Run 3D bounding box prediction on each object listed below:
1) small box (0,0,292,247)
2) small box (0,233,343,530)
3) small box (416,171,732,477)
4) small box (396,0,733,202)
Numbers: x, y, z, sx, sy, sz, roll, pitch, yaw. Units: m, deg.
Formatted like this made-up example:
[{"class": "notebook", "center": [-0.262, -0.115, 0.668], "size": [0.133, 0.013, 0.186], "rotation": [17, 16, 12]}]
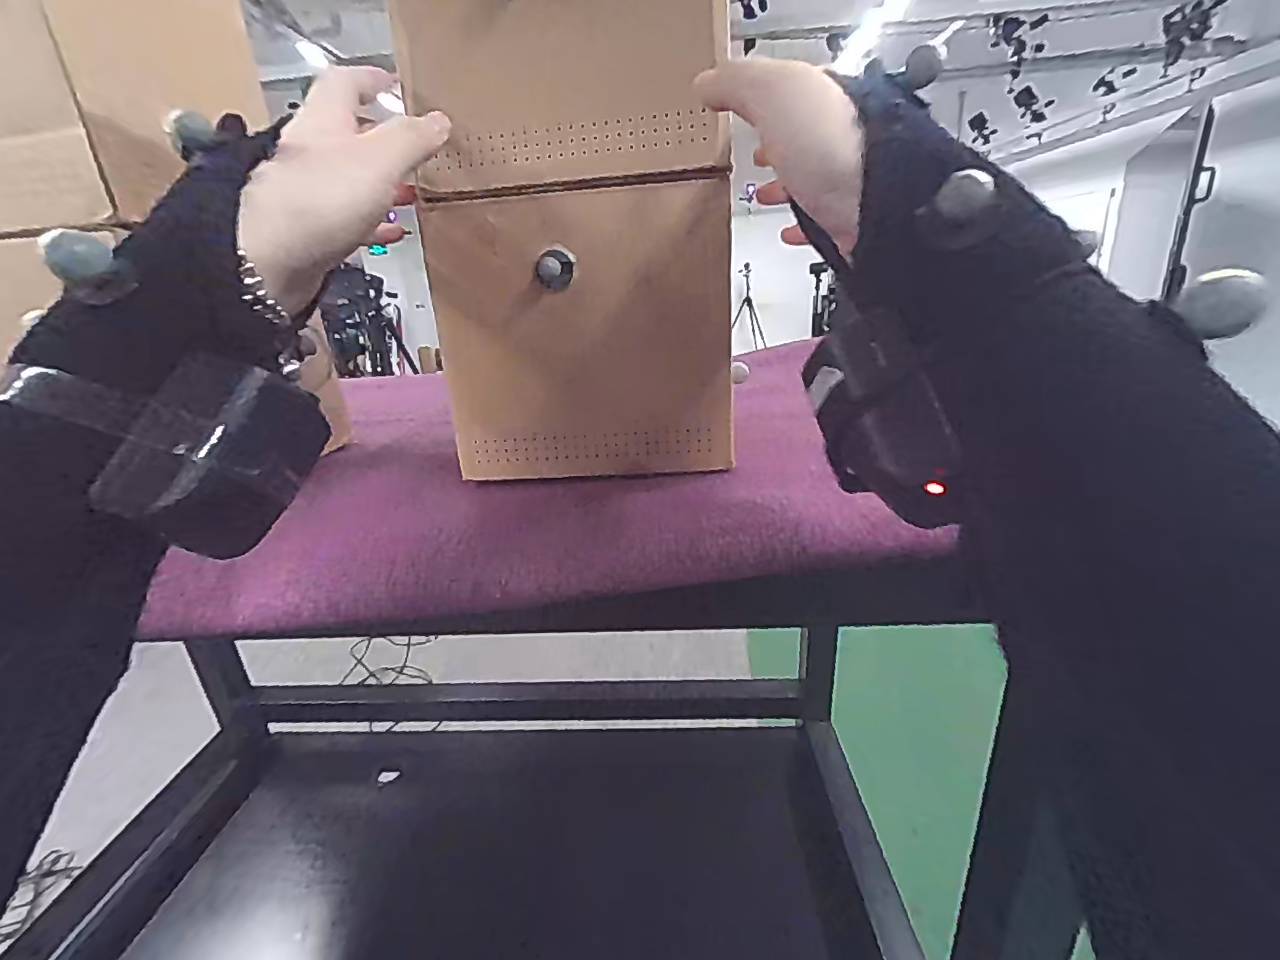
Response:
[{"class": "small box", "center": [-0.365, -0.228, 0.334], "size": [0.179, 0.176, 0.168], "rotation": [-4, 20, 1]}, {"class": "small box", "center": [-0.351, -0.075, 0.388], "size": [0.179, 0.176, 0.168], "rotation": [-4, 20, 3]}, {"class": "small box", "center": [-0.028, -0.103, 0.391], "size": [0.179, 0.176, 0.168], "rotation": [-2, 18, 5]}, {"class": "small box", "center": [-0.037, -0.259, 0.340], "size": [0.179, 0.176, 0.168], "rotation": [-3, 19, 7]}]
